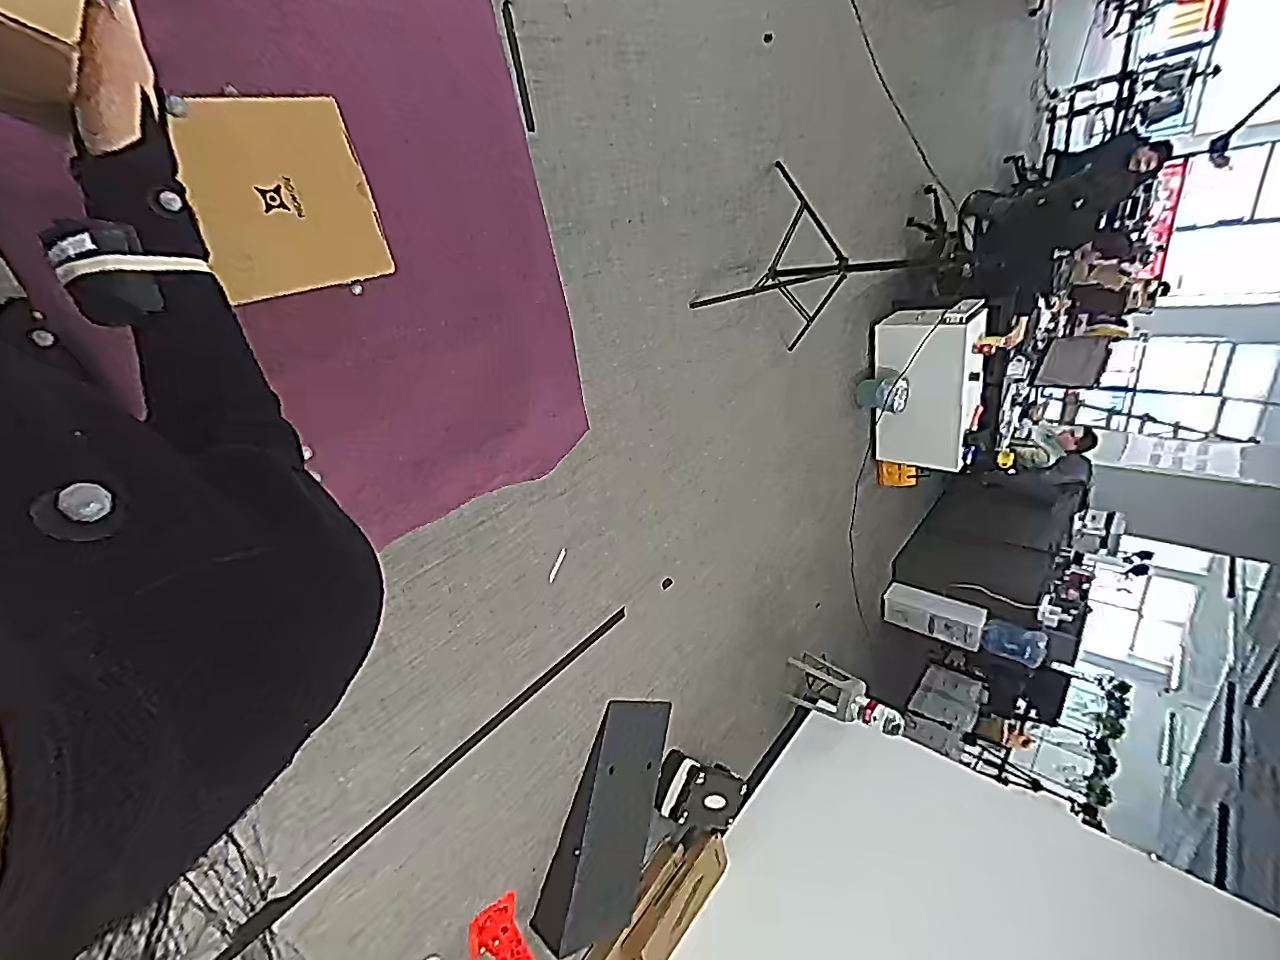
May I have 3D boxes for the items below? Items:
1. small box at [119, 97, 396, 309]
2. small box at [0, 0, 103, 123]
[{"bbox_3d":[-0.401,-0.284,0.572,0.179,0.176,0.168,-34,123,-38],"label":"small box"},{"bbox_3d":[-0.394,-0.330,0.282,0.168,0.176,0.179,7,94,-49],"label":"small box"}]
